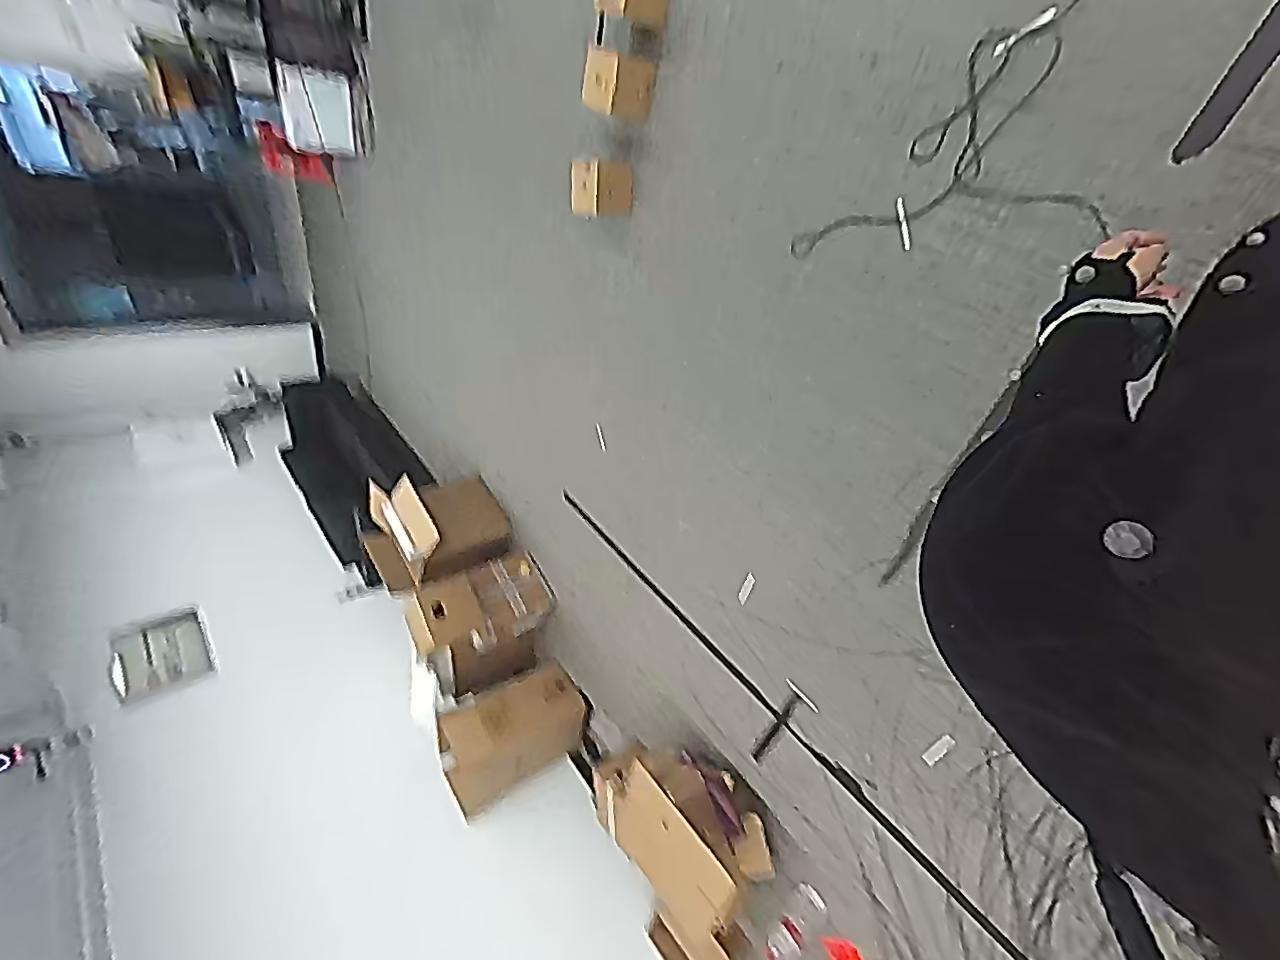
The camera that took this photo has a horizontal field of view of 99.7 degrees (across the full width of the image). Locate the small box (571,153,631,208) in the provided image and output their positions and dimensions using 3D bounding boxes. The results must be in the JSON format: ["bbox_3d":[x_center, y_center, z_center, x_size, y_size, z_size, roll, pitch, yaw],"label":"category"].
[{"bbox_3d":[-0.148,-1.134,2.050,0.168,0.176,0.179,30,128,40],"label":"small box"}]

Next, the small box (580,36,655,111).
[{"bbox_3d":[-0.077,-1.386,1.851,0.179,0.176,0.168,44,136,30],"label":"small box"}]
